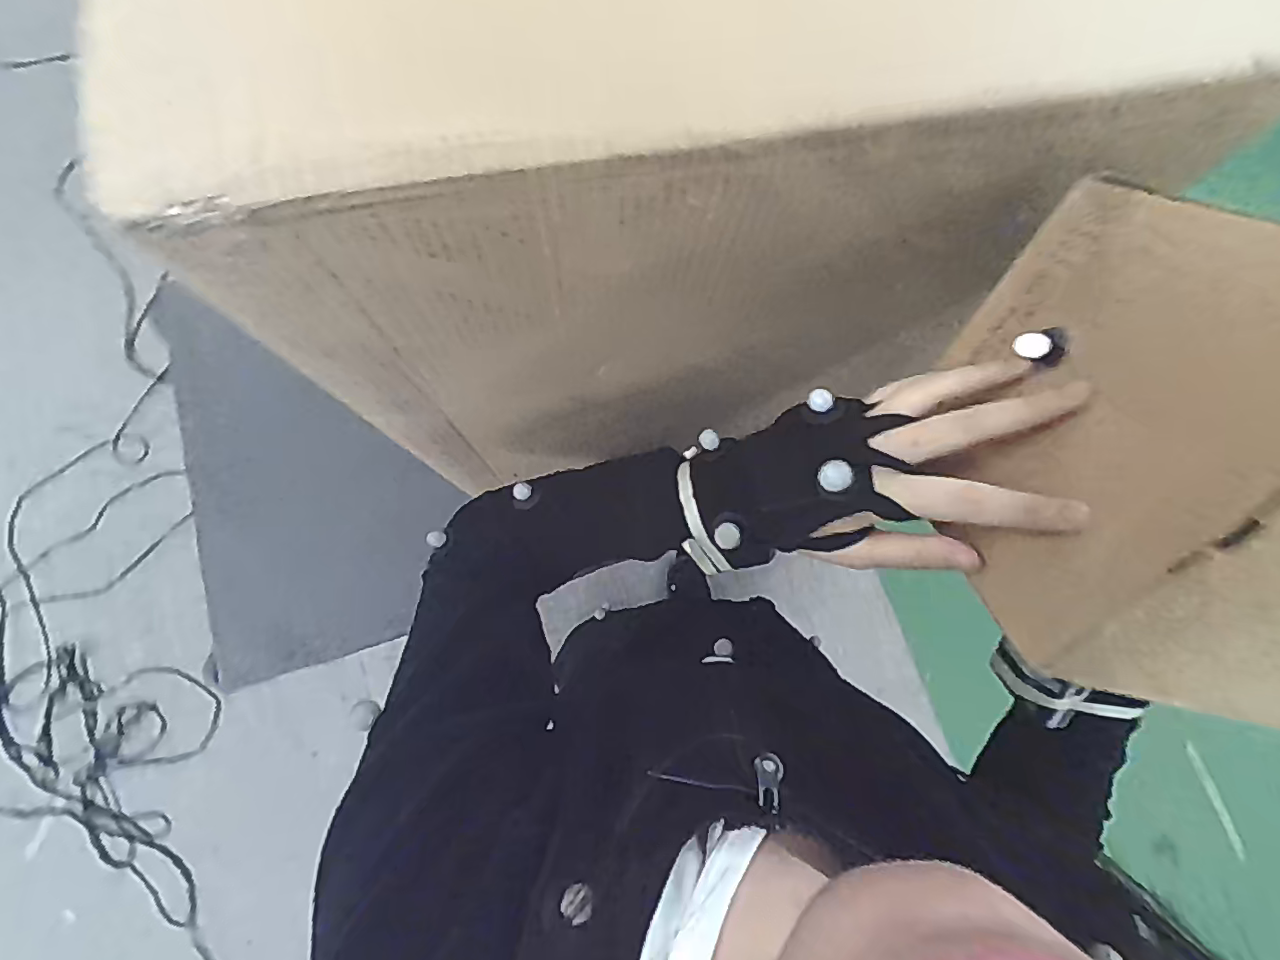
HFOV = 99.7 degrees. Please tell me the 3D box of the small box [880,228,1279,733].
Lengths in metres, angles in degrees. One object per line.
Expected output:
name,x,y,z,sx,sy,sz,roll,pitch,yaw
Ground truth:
small box,0.265,-0.004,0.274,0.179,0.168,0.176,17,34,-13
